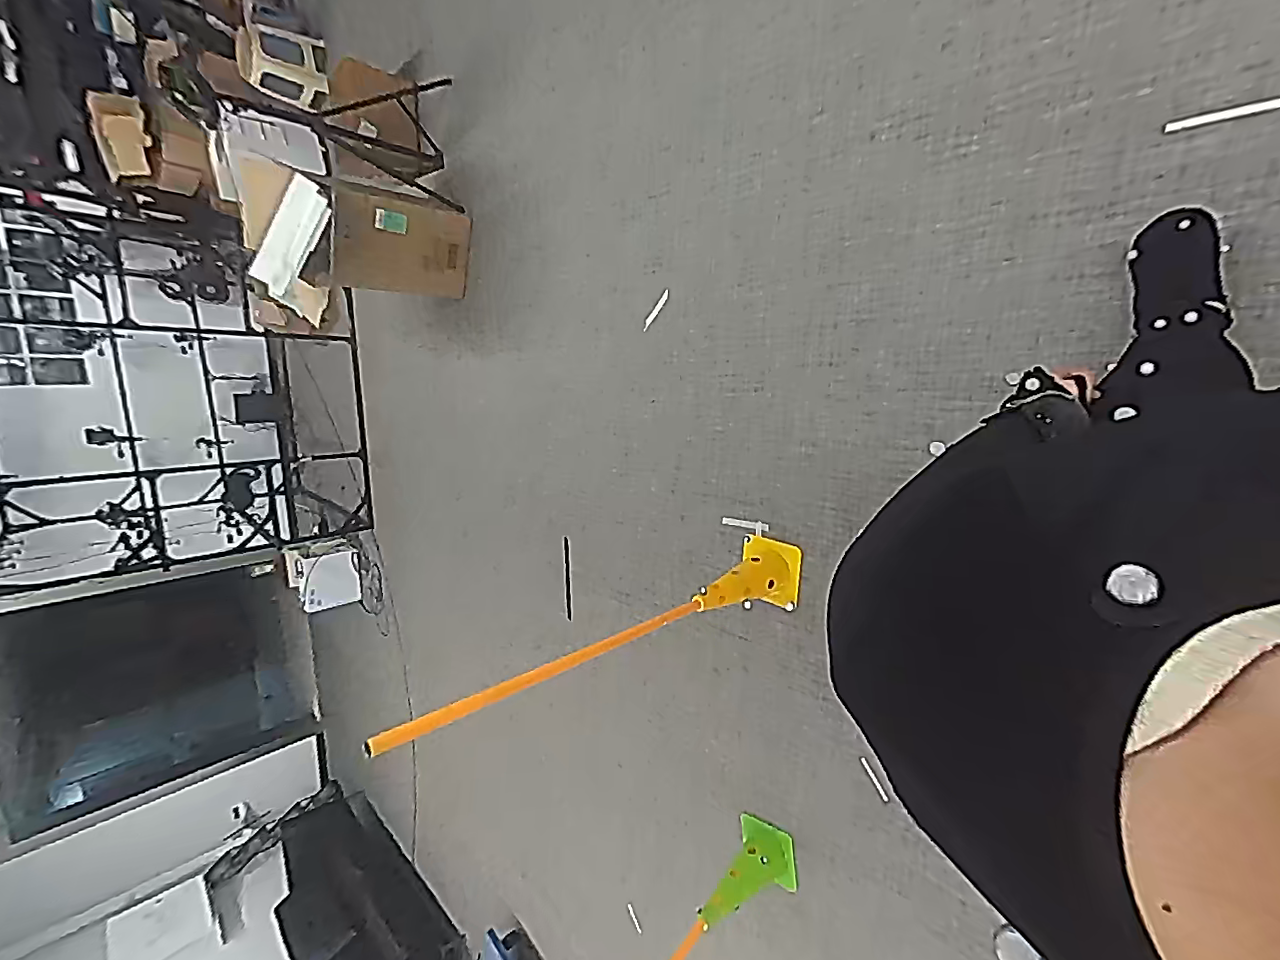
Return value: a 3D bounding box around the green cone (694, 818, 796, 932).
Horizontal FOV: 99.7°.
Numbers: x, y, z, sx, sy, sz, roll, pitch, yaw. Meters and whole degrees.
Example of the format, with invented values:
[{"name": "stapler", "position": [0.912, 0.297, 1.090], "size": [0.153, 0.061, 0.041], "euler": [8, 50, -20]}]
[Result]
[{"name": "green cone", "position": [0.301, 1.265, 1.673], "size": [0.200, 0.368, 0.202], "euler": [-4, 92, 46]}]
